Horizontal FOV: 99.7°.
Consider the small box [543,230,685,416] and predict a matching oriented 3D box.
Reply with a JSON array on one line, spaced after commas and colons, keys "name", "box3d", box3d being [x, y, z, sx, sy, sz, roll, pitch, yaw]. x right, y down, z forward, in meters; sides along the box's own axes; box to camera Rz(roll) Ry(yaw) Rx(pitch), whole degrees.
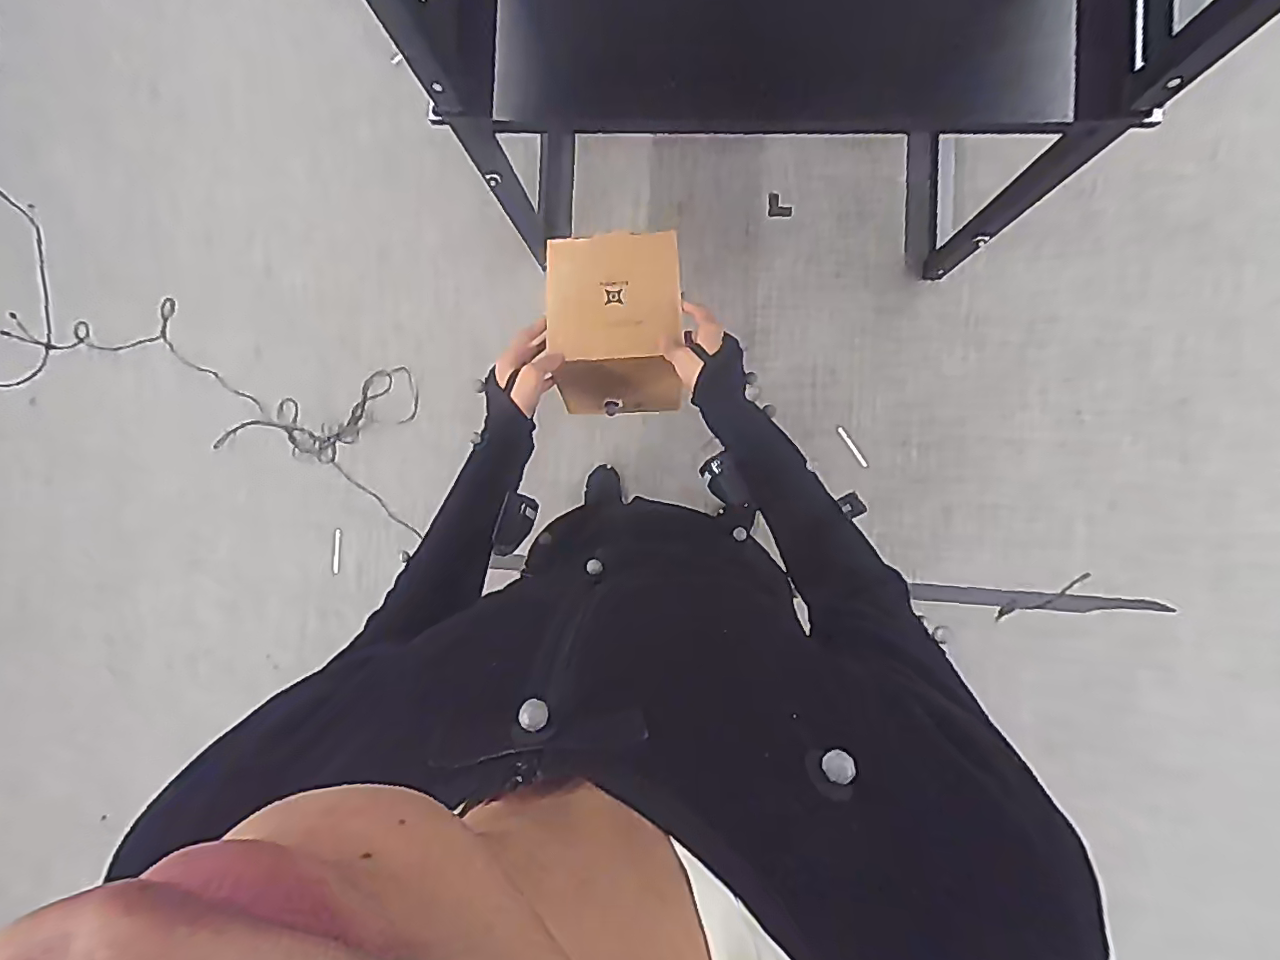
[{"name": "small box", "box3d": [-0.030, -0.199, 0.717, 0.168, 0.176, 0.179, -3, 74, 1]}]
